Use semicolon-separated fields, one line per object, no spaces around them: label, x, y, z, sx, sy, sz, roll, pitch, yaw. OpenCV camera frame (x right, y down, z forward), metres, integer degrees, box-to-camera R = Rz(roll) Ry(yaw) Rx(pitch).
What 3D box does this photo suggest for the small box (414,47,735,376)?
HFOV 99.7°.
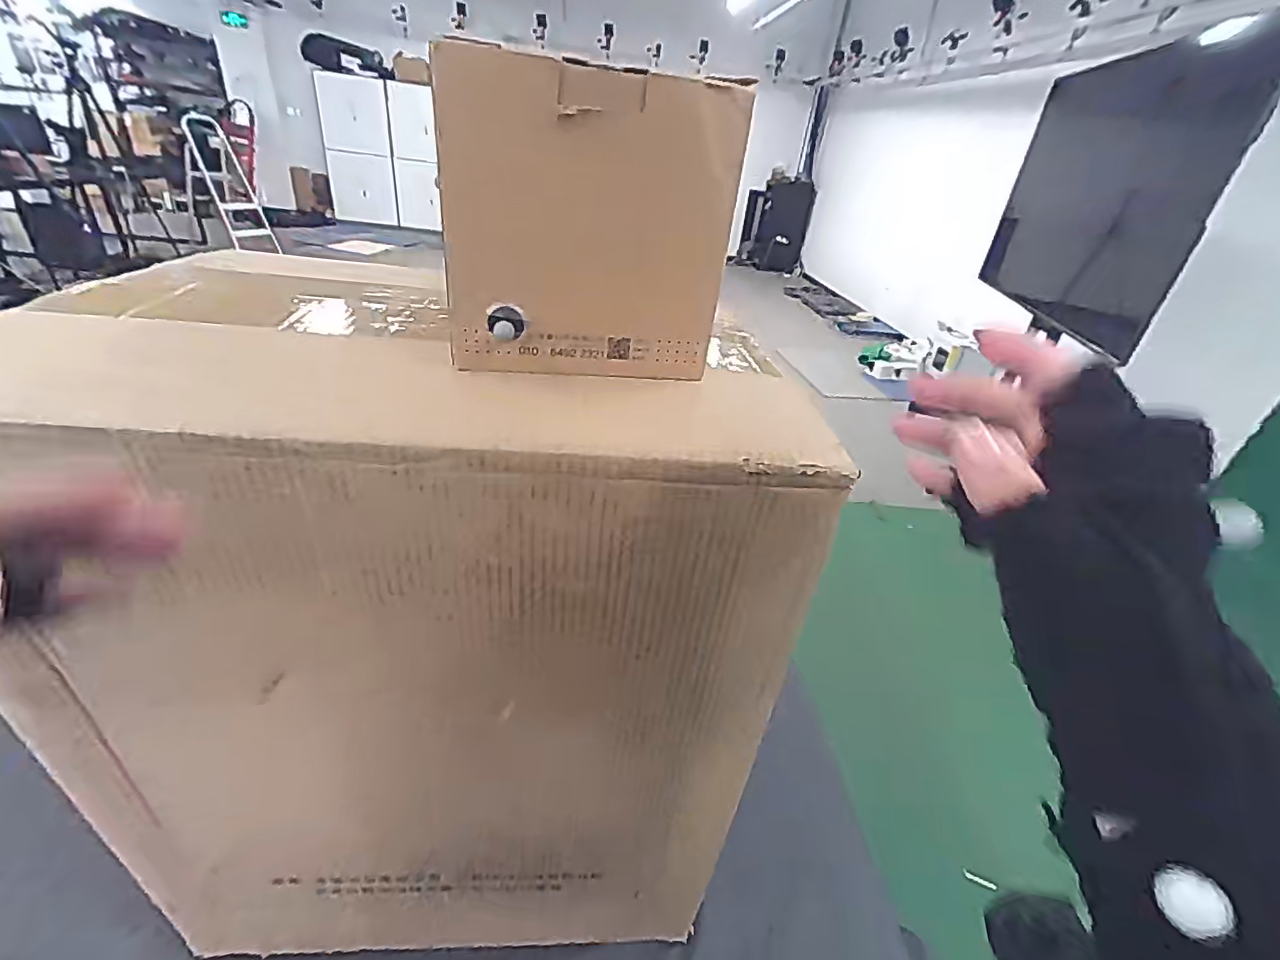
small box;-0.048;-0.181;0.381;0.168;0.176;0.179;0;33;-11
